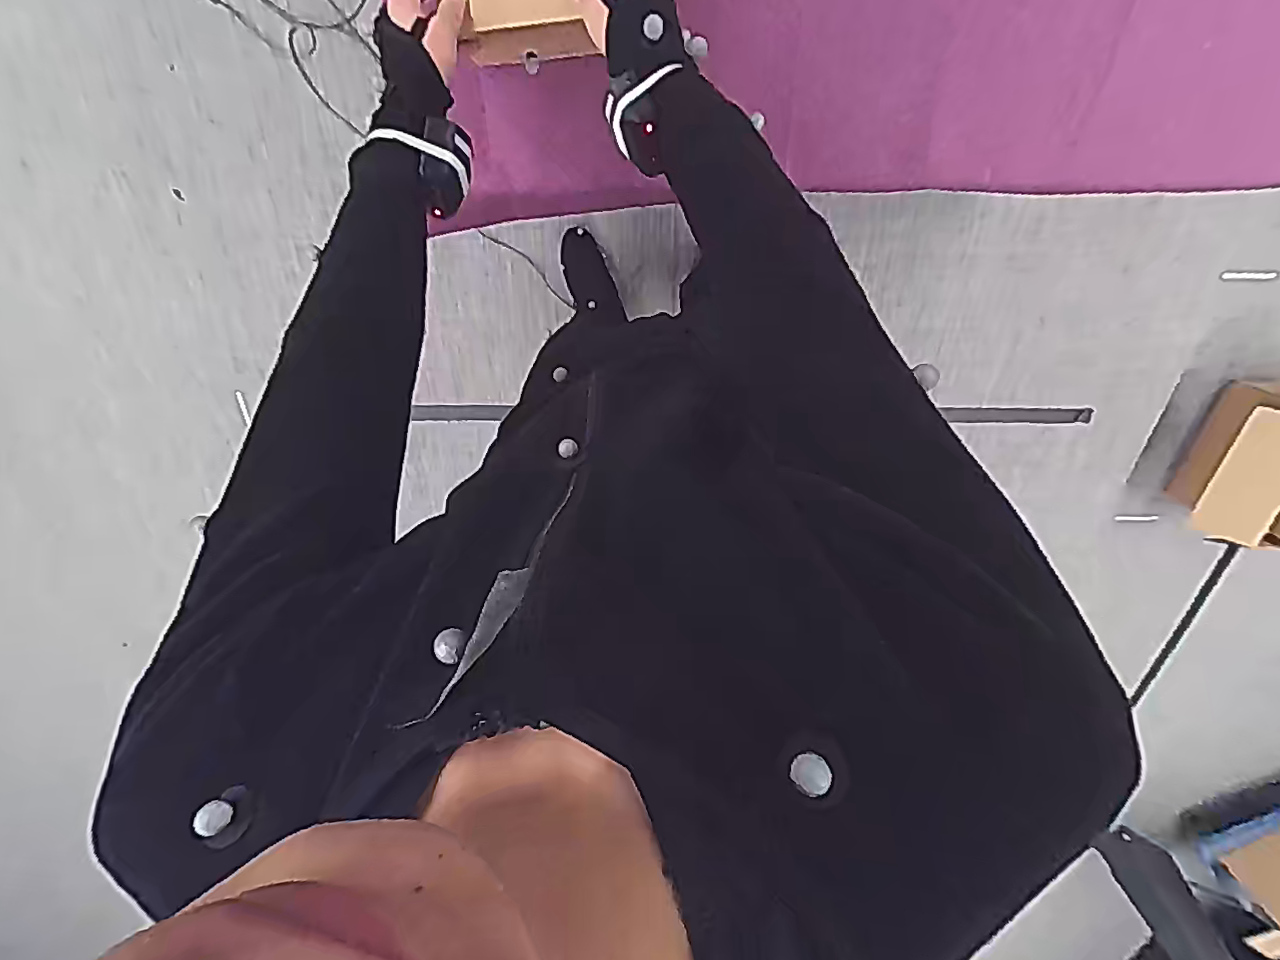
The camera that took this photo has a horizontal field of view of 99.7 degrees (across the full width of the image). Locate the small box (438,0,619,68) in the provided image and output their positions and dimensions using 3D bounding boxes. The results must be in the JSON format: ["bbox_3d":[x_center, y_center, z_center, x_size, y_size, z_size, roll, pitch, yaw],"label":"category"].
[{"bbox_3d":[-0.112,-0.537,0.531,0.168,0.176,0.179,-6,119,1],"label":"small box"}]
